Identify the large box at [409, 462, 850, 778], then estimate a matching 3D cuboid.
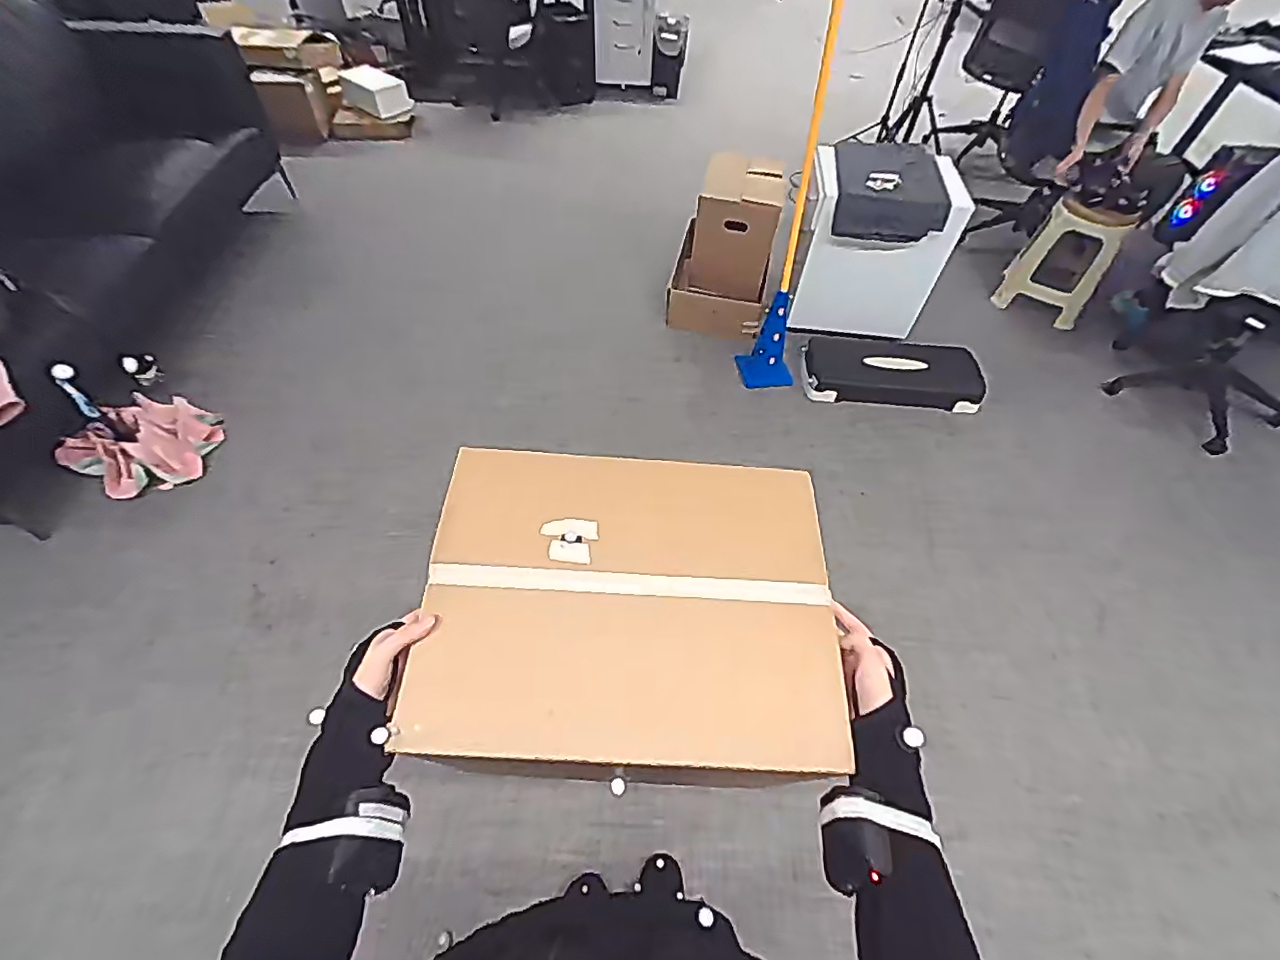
[{"bbox_3d":[-0.009,0.194,0.685,0.408,0.320,0.320,3,57,-1],"label":"large box"}]
